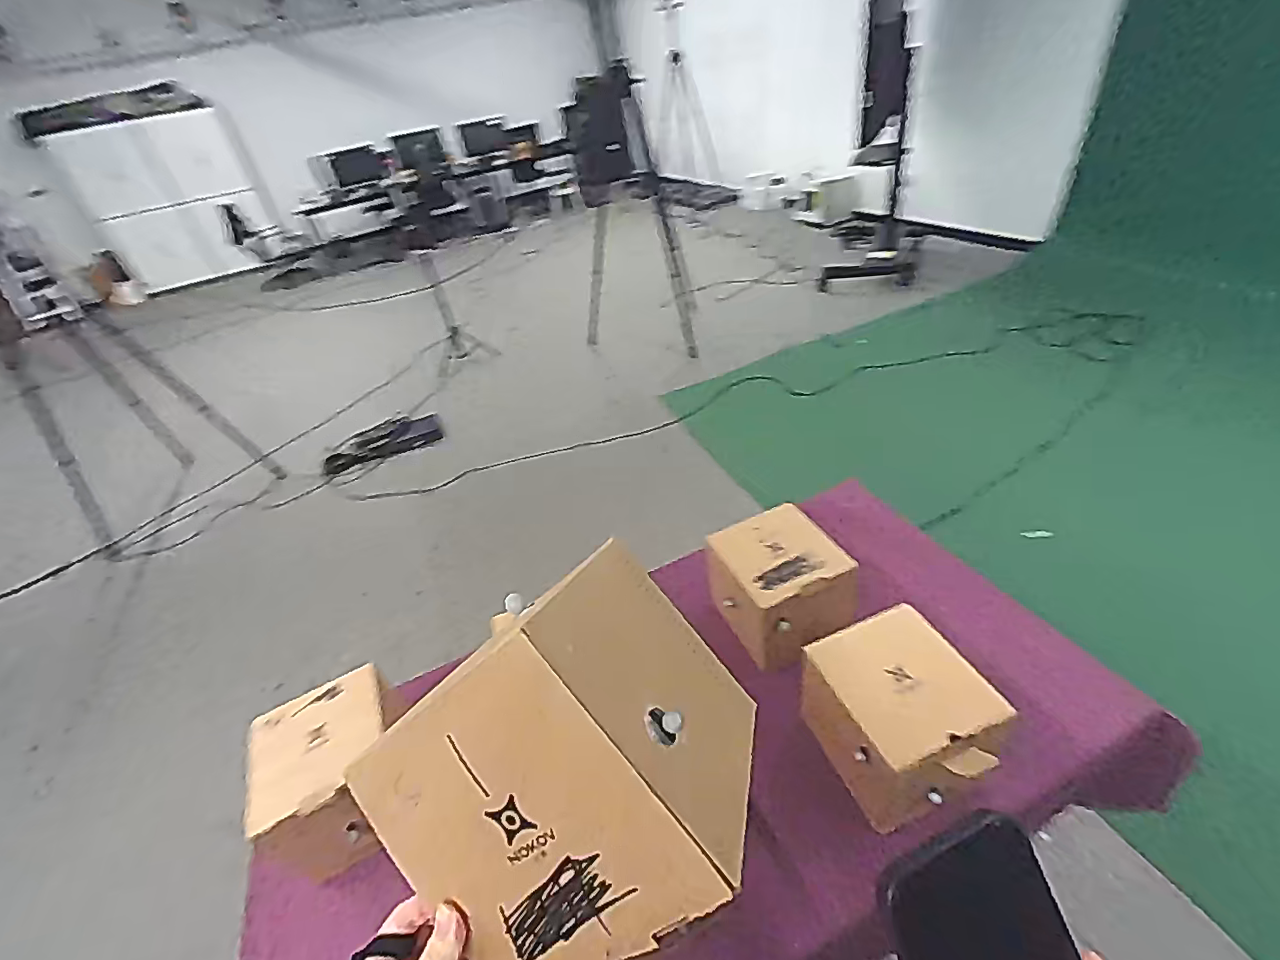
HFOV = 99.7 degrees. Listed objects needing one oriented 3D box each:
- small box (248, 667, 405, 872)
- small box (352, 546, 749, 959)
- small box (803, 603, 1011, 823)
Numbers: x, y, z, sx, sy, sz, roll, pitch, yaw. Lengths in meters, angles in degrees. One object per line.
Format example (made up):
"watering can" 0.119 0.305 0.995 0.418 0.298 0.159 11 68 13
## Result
"small box" -0.413 0.411 0.762 0.168 0.176 0.179 -25 40 -18
"small box" -0.042 0.175 0.375 0.168 0.179 0.176 -40 -2 19
"small box" 0.327 0.300 0.707 0.168 0.176 0.179 -20 38 -10
